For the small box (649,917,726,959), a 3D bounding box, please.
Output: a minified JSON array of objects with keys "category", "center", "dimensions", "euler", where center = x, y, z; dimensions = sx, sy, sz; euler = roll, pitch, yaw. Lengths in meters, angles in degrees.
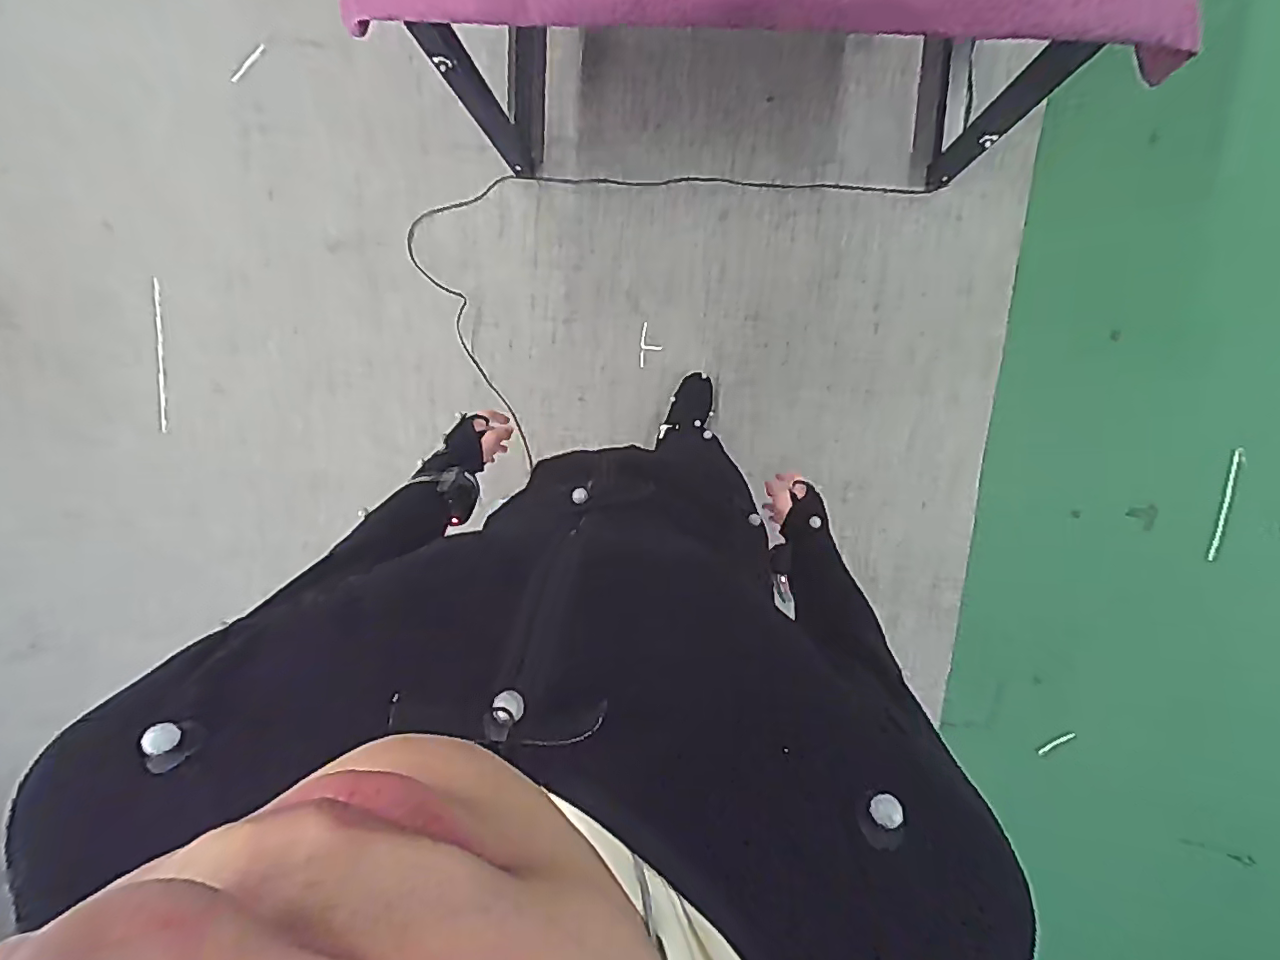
[{"category":"small box","center":[0.107,1.167,1.253],"dimensions":[0.179,0.176,0.168],"euler":[6,97,6]}]
